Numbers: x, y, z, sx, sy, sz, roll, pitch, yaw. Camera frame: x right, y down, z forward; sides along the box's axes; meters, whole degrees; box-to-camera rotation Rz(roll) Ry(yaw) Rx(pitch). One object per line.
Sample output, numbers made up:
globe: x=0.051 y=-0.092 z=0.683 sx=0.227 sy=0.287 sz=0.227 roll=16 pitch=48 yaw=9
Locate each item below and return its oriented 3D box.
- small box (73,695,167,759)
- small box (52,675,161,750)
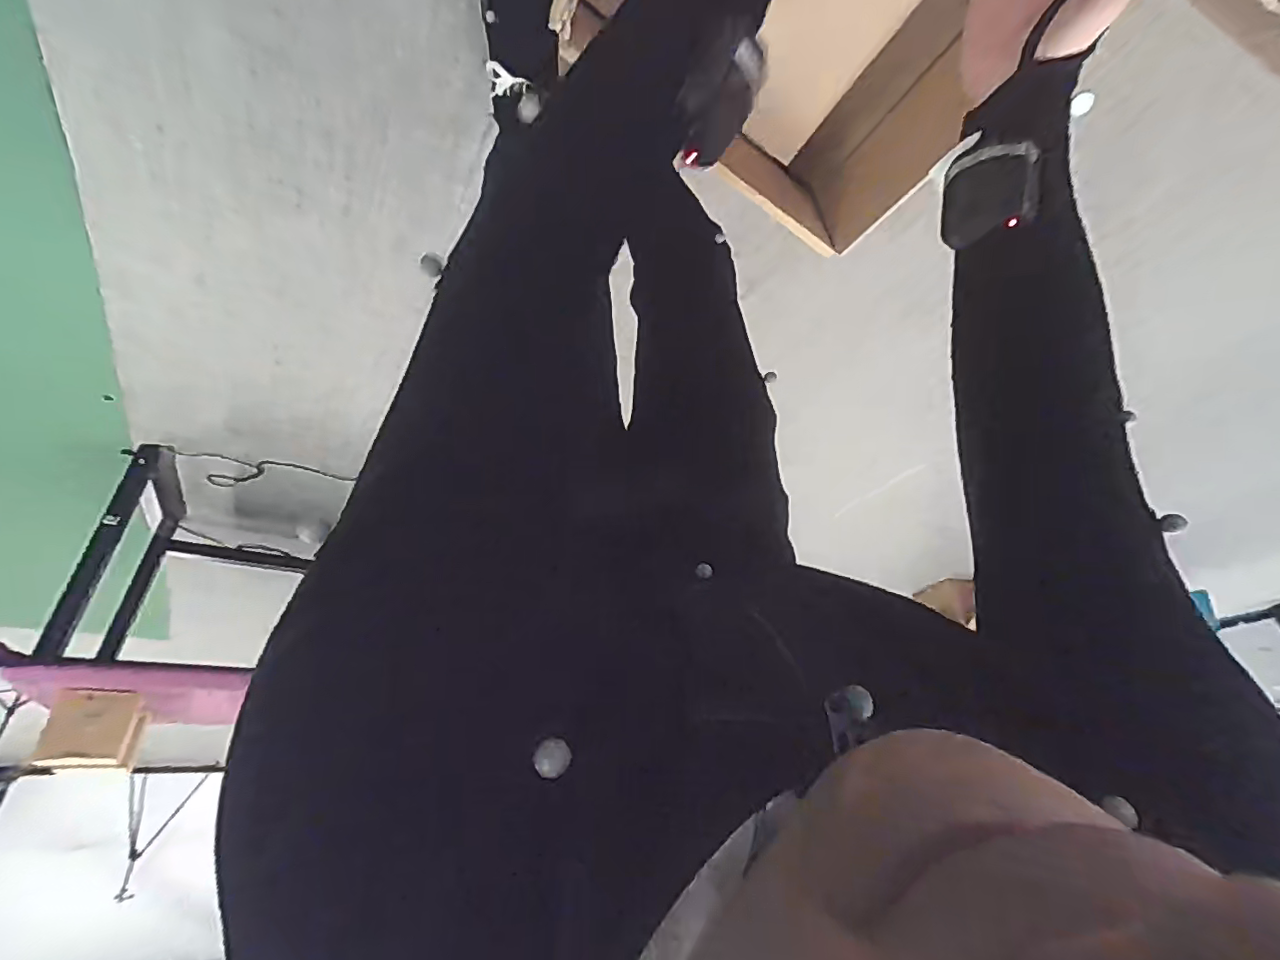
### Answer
small box: x=-1.603 y=0.763 z=1.678 sx=0.168 sy=0.176 sz=0.179 roll=17 pitch=142 yaw=-32
small box: x=-1.452 y=0.638 z=1.483 sx=0.168 sy=0.176 sz=0.179 roll=18 pitch=144 yaw=-32
